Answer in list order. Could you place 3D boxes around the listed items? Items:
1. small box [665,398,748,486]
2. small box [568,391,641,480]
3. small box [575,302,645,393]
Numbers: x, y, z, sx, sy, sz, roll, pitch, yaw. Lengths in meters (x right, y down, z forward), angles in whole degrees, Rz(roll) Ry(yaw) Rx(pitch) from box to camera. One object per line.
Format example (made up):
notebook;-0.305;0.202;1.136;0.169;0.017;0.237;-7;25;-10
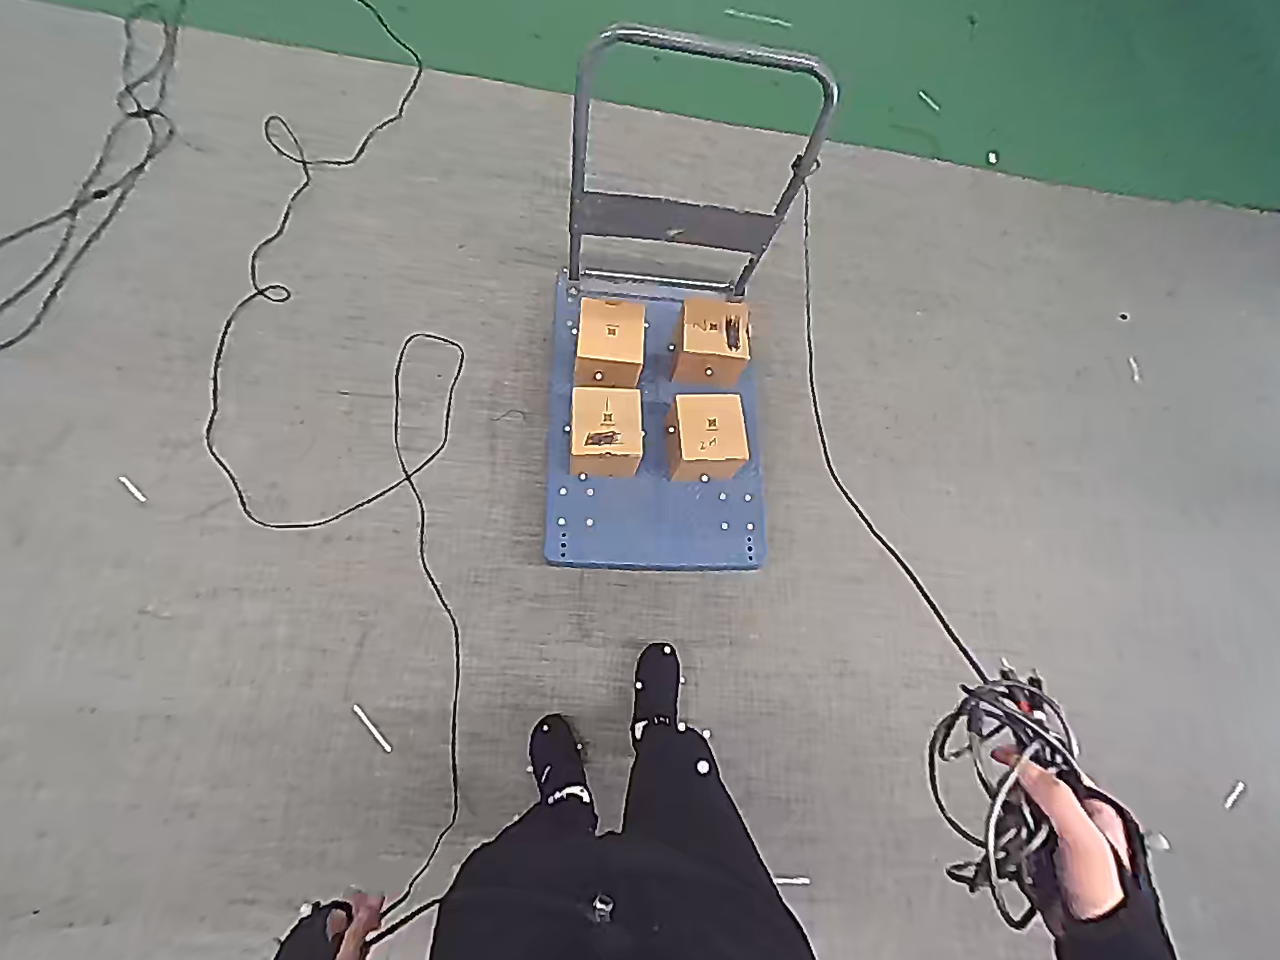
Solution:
small box;0.162;-0.094;1.379;0.168;0.176;0.179;-2;71;-9
small box;-0.091;-0.104;1.343;0.168;0.176;0.179;1;71;-10
small box;-0.083;-0.338;1.425;0.168;0.176;0.179;4;70;-8
